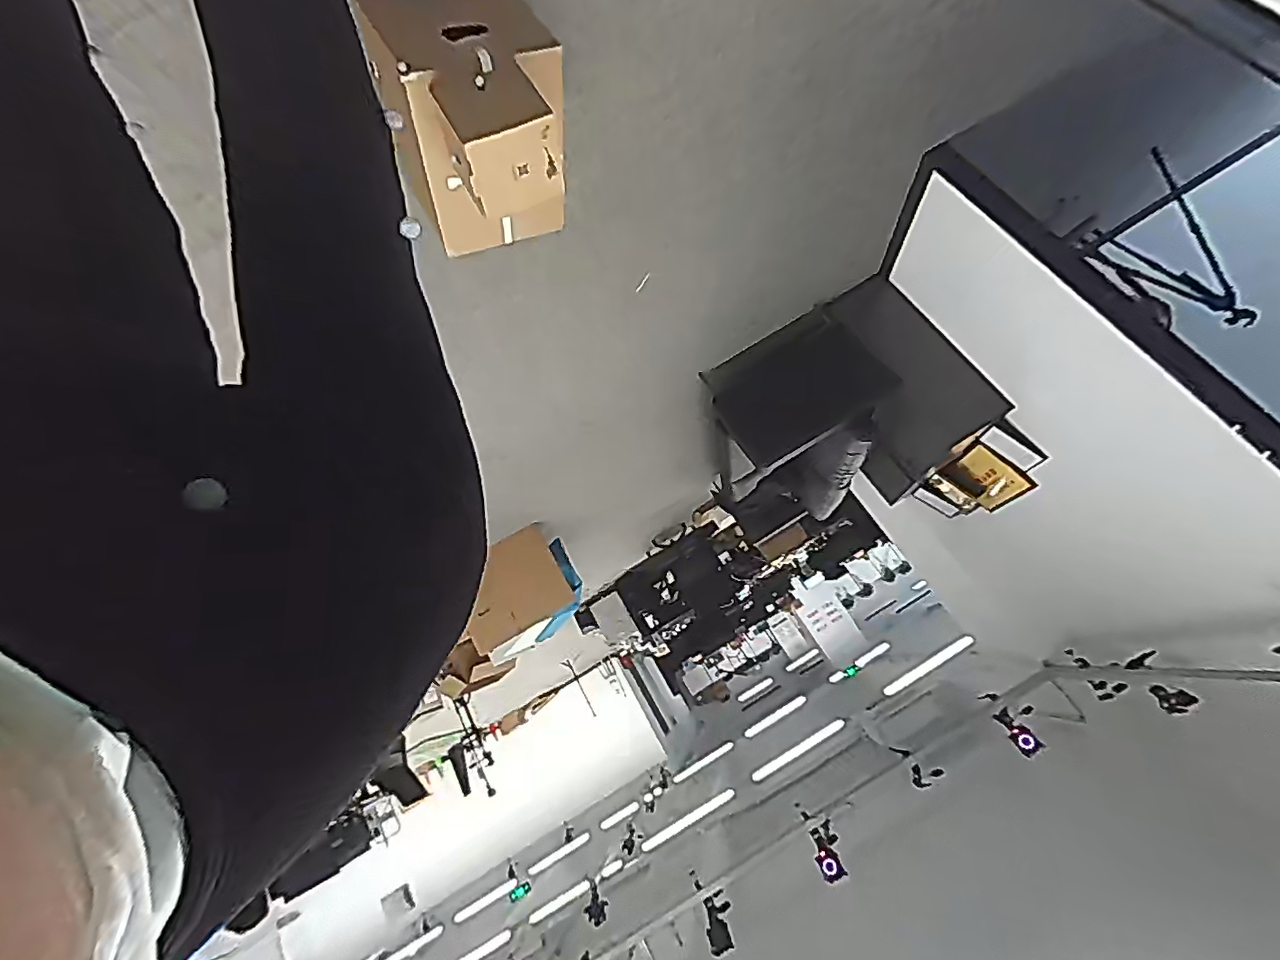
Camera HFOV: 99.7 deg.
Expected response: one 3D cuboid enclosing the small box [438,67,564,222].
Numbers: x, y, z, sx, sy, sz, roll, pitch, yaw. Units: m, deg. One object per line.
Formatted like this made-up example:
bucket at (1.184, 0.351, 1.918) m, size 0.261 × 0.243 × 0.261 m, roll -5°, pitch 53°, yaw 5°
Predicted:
small box at (-0.266, -0.639, 1.033) m, size 0.179 × 0.176 × 0.168 m, roll -27°, pitch 160°, yaw -11°
